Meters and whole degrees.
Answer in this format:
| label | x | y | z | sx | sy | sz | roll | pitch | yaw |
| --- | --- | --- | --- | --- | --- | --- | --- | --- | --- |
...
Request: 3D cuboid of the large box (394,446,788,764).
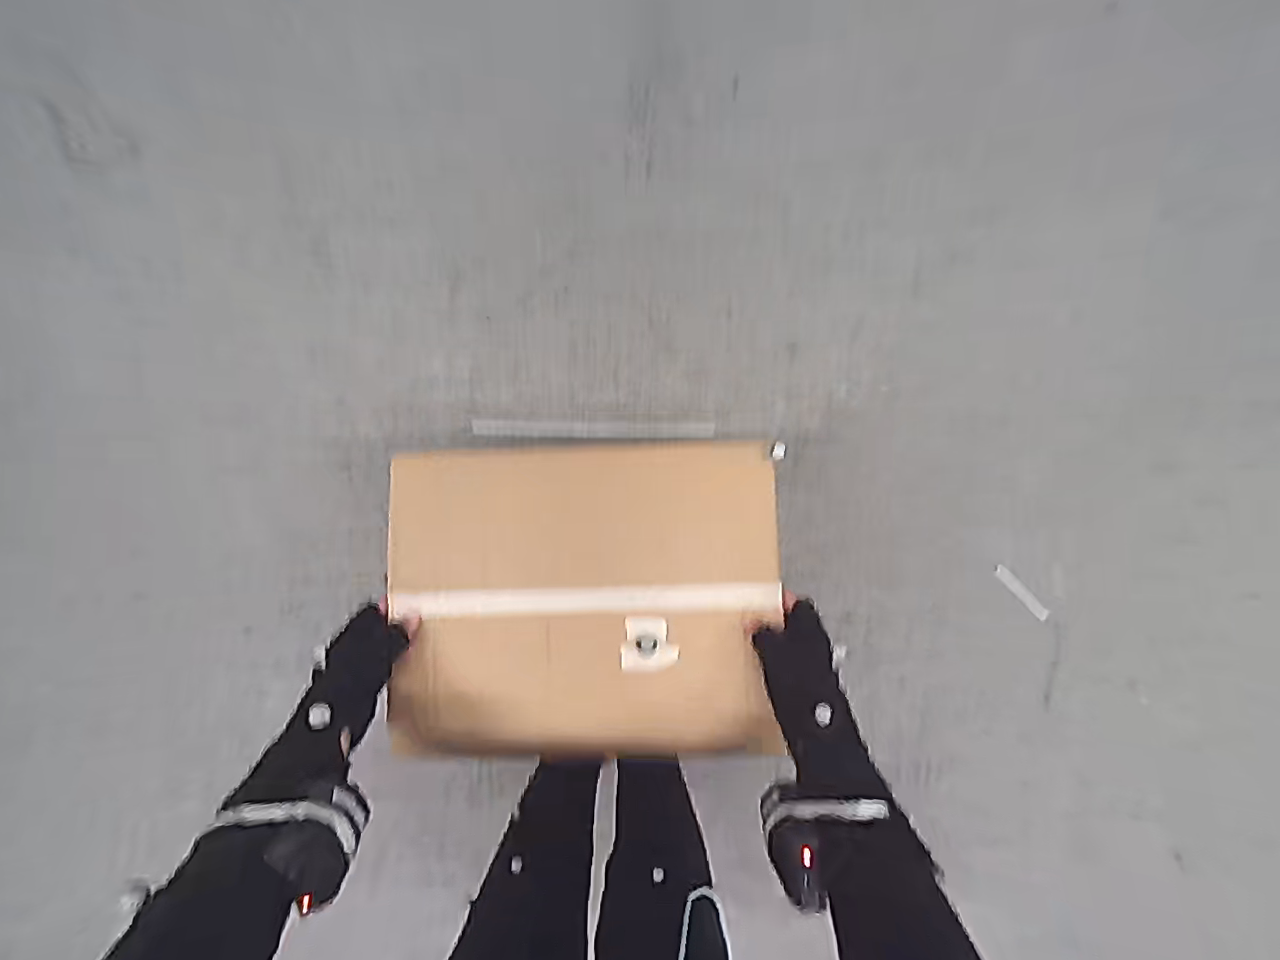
| label | x | y | z | sx | sy | sz | roll | pitch | yaw |
| --- | --- | --- | --- | --- | --- | --- | --- | --- | --- |
| large box | -0.053 | 0.143 | 0.703 | 0.408 | 0.320 | 0.320 | -2 | 84 | 2 |
